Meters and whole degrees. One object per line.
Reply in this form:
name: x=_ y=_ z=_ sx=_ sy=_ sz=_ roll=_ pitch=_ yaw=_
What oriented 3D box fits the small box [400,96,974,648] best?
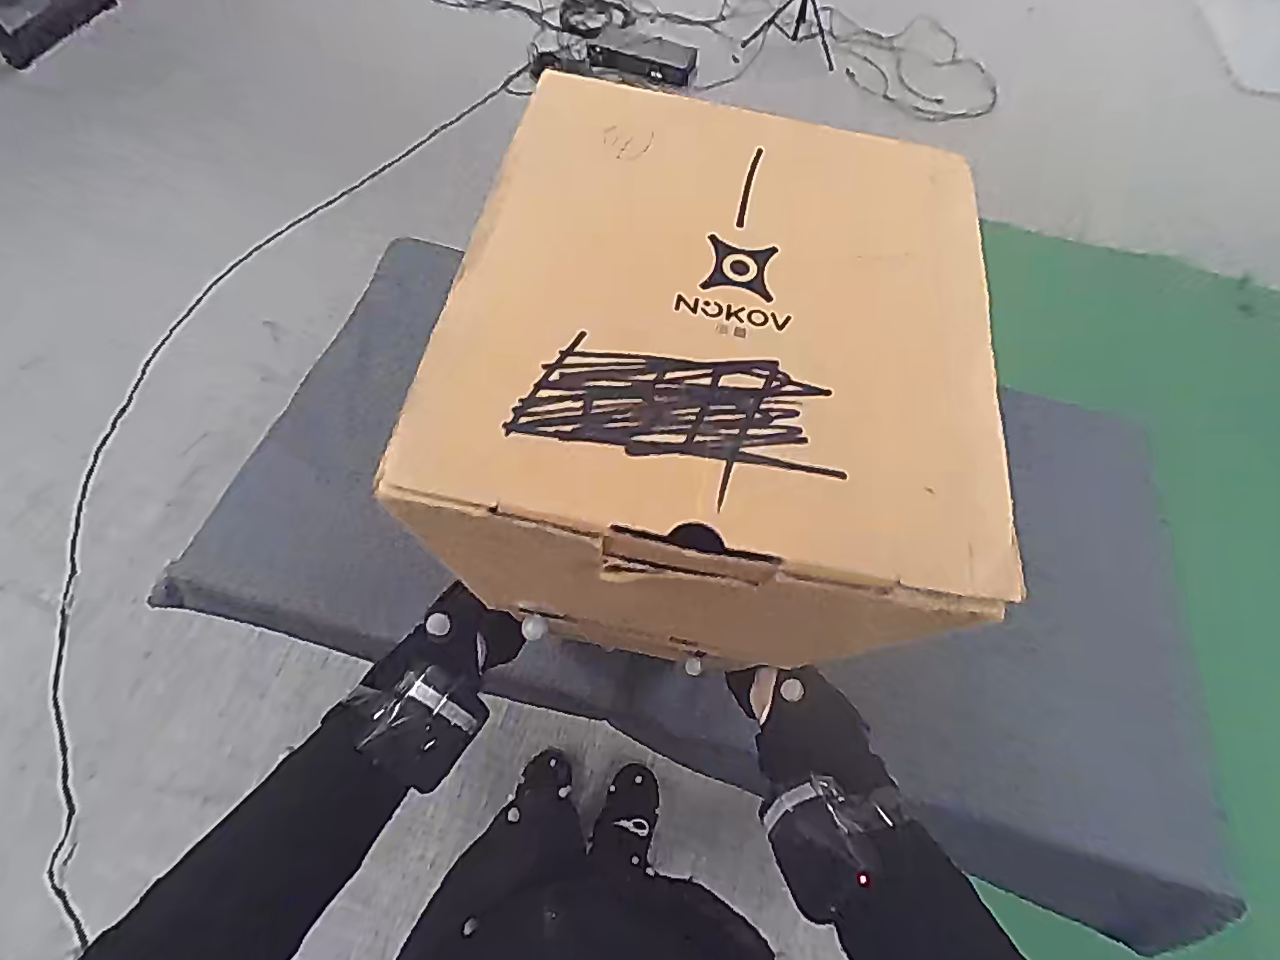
small box: x=0.021 y=-0.028 z=0.255 sx=0.168 sy=0.176 sz=0.179 roll=12 pitch=66 yaw=-1

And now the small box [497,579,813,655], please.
small box: x=0.011 y=0.029 z=0.391 sx=0.179 sy=0.176 sz=0.168 roll=8 pitch=67 yaw=-2
